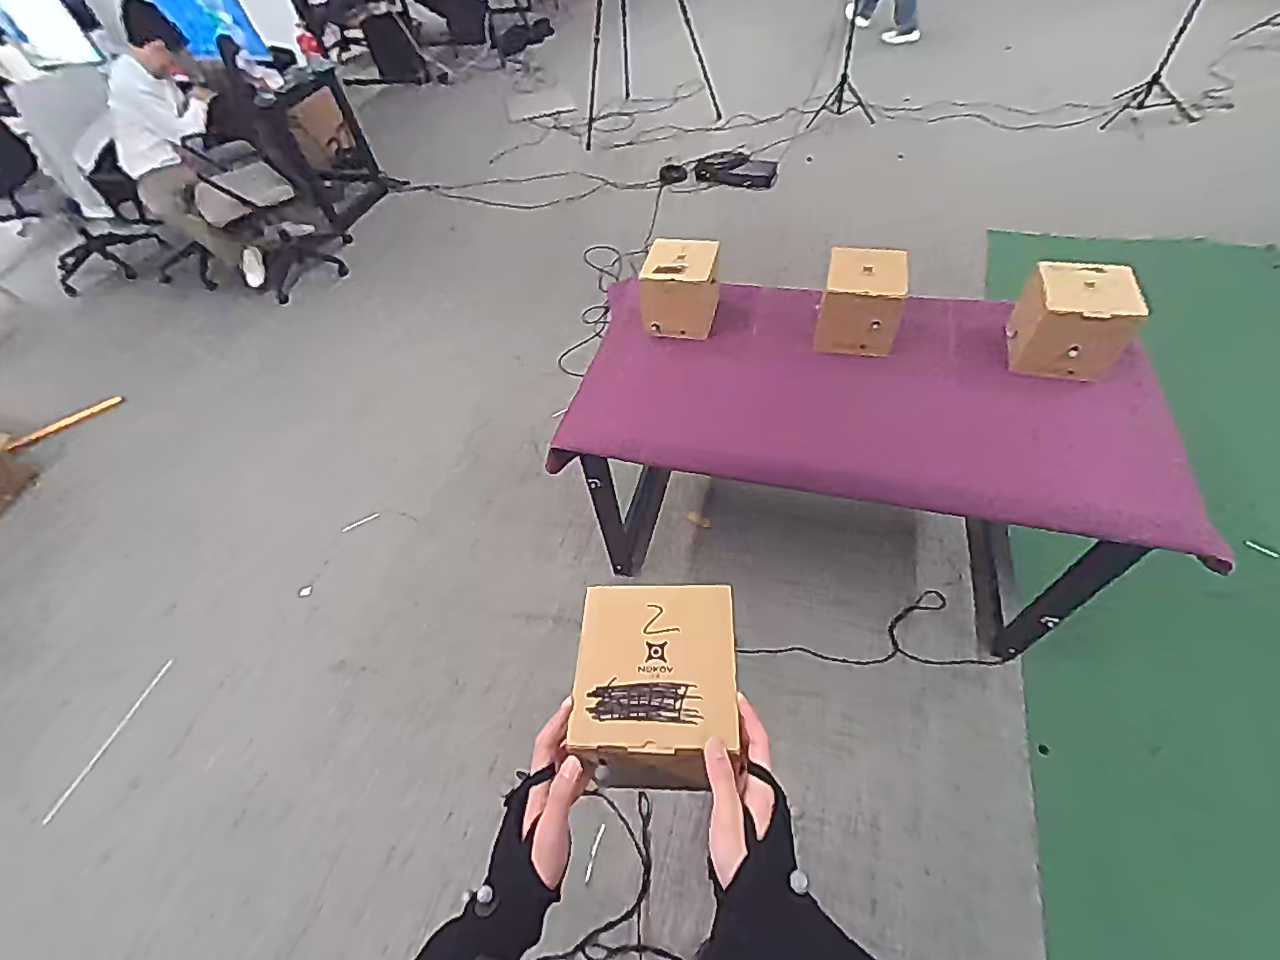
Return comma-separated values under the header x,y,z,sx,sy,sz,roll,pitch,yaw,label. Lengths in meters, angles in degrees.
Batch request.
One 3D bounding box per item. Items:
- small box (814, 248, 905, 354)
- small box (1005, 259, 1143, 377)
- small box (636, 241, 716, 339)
x,y,z,sx,sy,sz,roll,pitch,yaw,label
0.504,-0.412,1.254,0.168,0.176,0.179,9,55,14,small box
0.897,-0.338,1.138,0.168,0.176,0.179,10,56,15,small box
0.098,-0.473,1.356,0.168,0.176,0.179,8,54,13,small box
